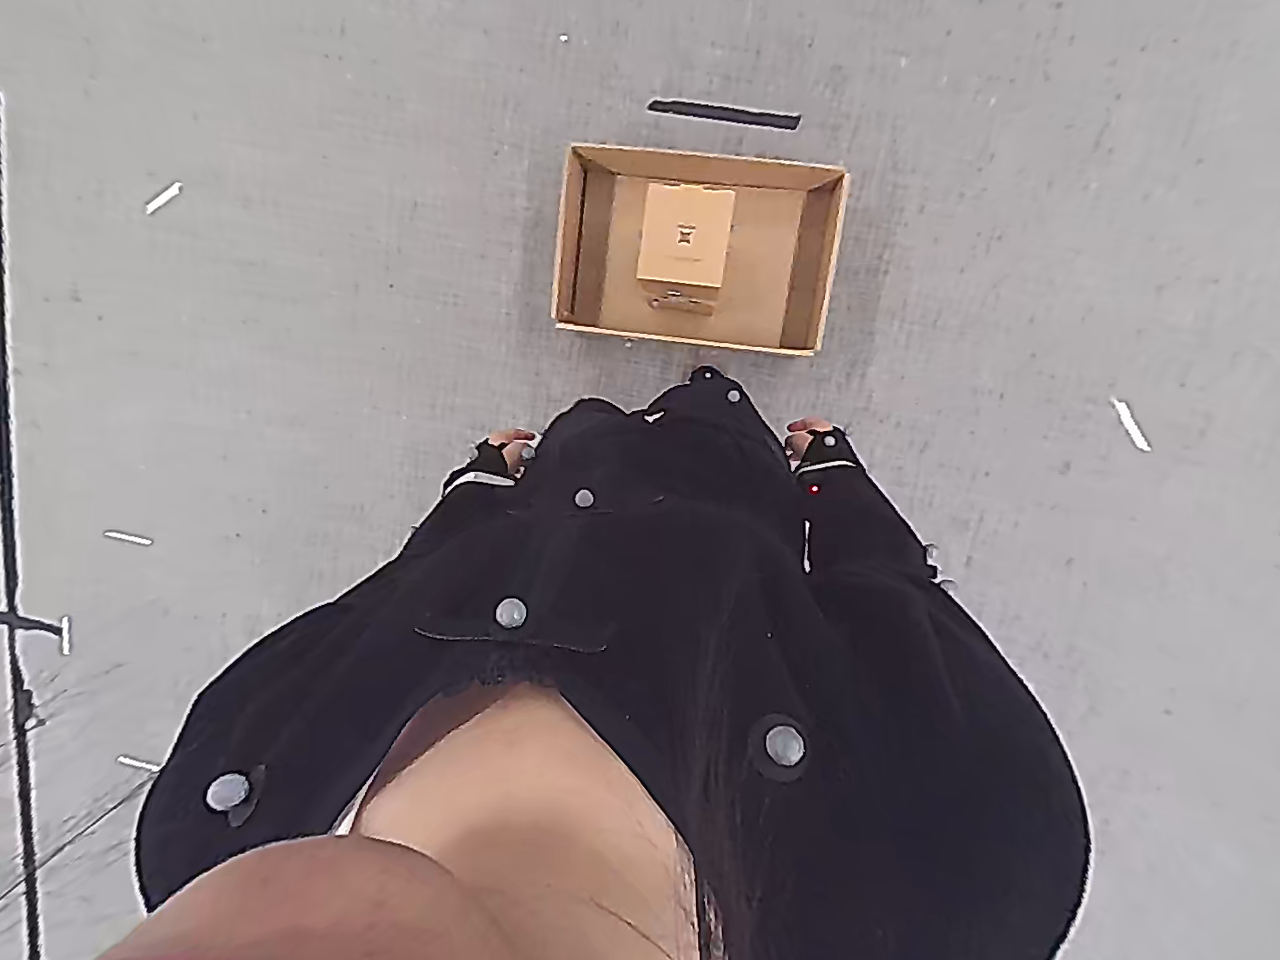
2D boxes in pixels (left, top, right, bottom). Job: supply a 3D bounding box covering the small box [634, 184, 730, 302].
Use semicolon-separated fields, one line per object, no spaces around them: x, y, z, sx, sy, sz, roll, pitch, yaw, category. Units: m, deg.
0.085;-0.474;1.103;0.168;0.176;0.179;8;100;5;small box
